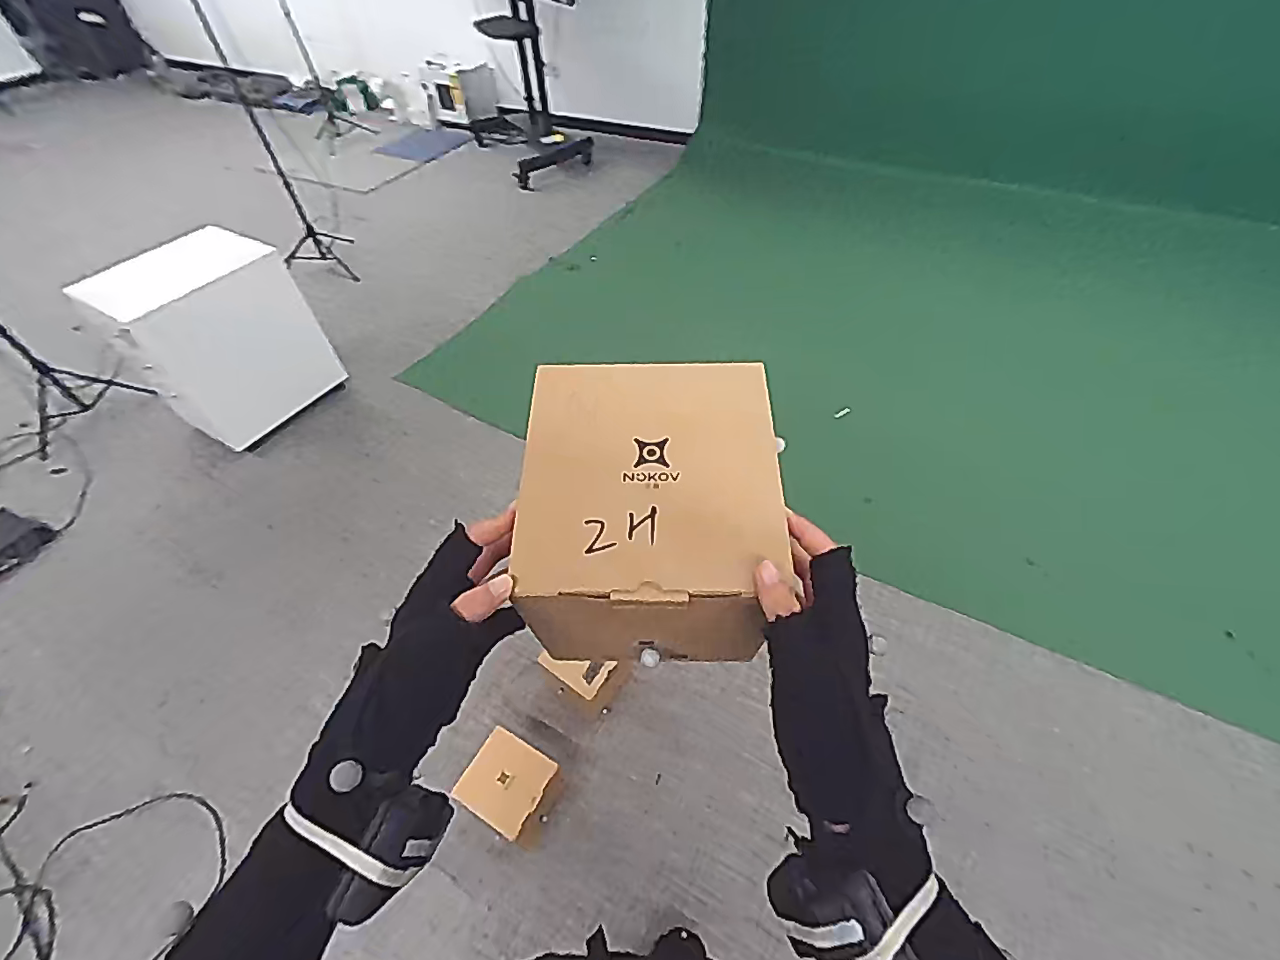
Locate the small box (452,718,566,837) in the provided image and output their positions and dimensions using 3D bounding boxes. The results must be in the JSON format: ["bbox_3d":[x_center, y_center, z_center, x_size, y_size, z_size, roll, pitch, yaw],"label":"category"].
[{"bbox_3d":[-0.290,0.684,1.237,0.179,0.176,0.168,22,55,19],"label":"small box"}]

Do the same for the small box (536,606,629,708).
[{"bbox_3d":[-0.141,0.468,1.410,0.179,0.176,0.168,27,56,24],"label":"small box"}]
